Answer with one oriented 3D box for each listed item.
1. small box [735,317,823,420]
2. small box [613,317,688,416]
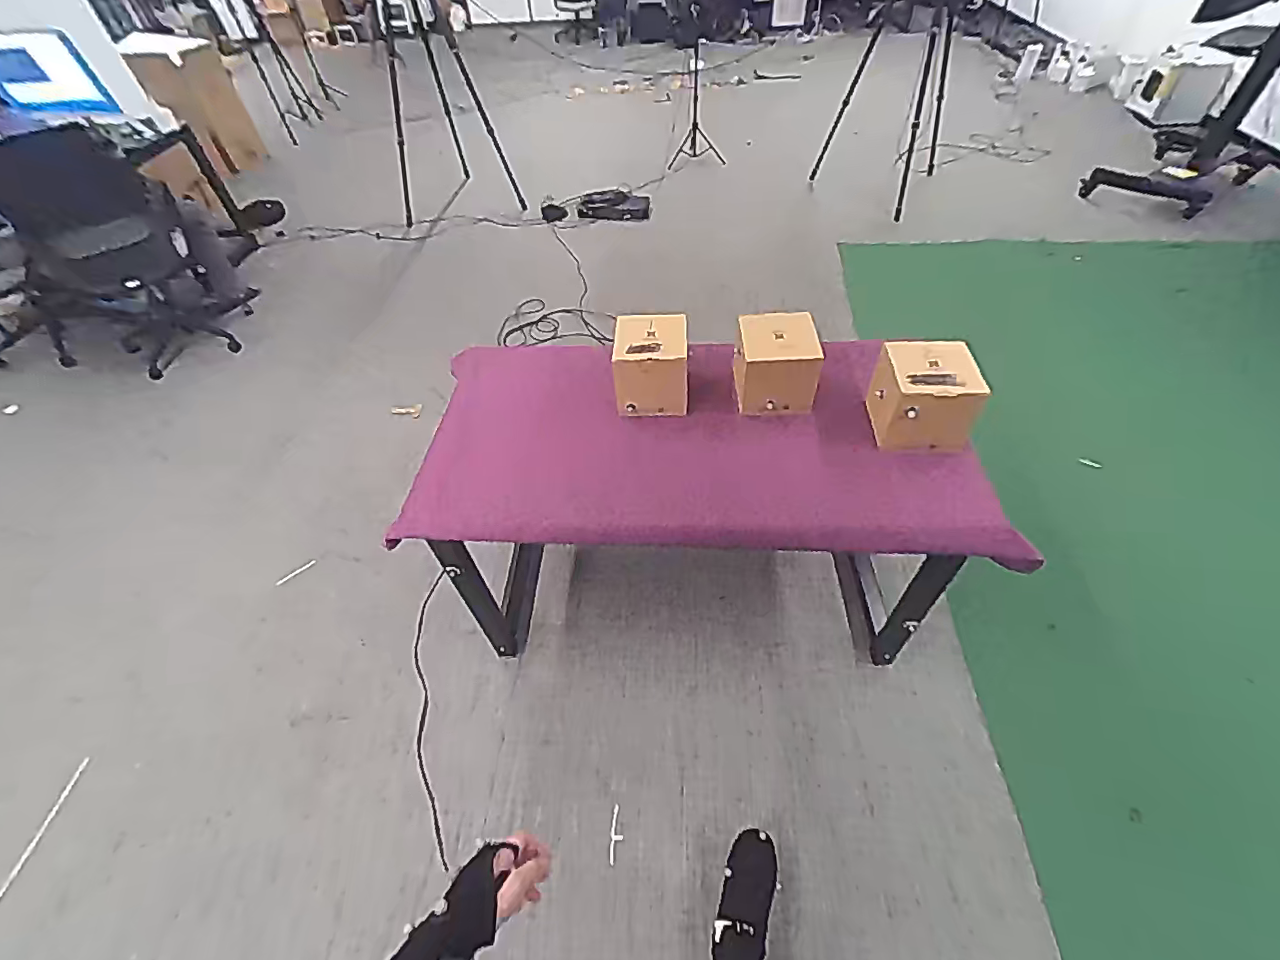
[{"bbox_3d":[0.315,-0.260,1.263,0.168,0.176,0.179,-1,50,4],"label":"small box"},{"bbox_3d":[0.031,-0.265,1.283,0.168,0.176,0.179,0,49,4],"label":"small box"}]
